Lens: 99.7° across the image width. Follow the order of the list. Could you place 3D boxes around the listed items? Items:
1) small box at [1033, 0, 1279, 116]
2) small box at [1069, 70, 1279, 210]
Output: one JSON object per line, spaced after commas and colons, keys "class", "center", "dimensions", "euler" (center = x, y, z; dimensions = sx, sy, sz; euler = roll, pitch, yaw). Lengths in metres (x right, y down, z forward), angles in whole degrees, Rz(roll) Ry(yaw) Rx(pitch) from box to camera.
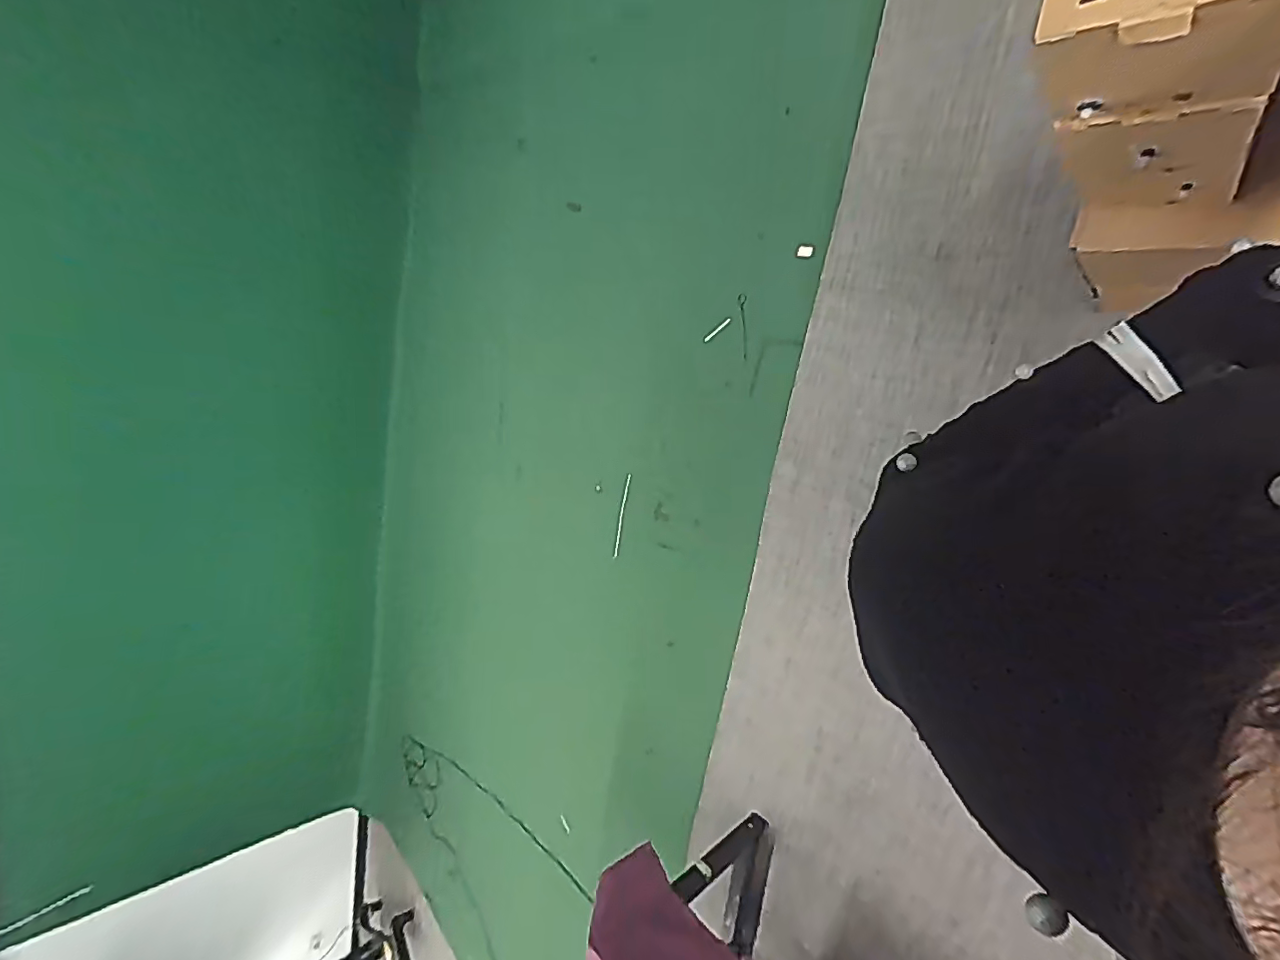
{"class": "small box", "center": [0.476, -0.449, 0.470], "dimensions": [0.168, 0.176, 0.179], "euler": [20, 105, 40]}
{"class": "small box", "center": [0.701, -0.466, 0.708], "dimensions": [0.168, 0.176, 0.179], "euler": [23, 107, 40]}
